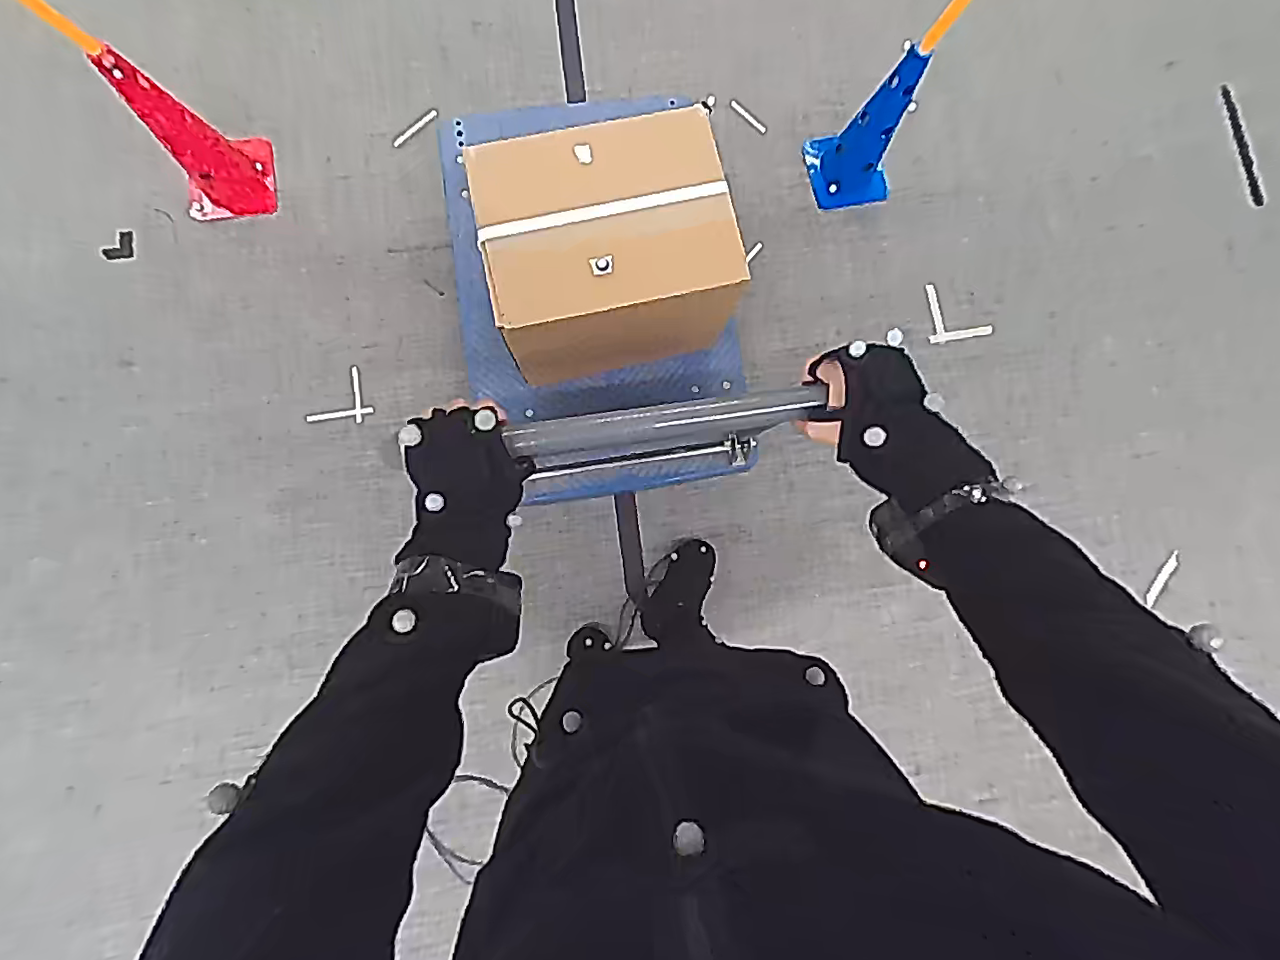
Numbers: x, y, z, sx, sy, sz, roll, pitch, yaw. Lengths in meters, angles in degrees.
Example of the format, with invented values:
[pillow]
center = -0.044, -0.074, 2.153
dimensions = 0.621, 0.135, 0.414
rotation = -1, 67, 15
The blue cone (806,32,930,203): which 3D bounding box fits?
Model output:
[blue cone]
center = 0.554, -0.842, 1.258
dimensions = 0.193, 0.380, 0.192
rotation = -11, 83, -5
